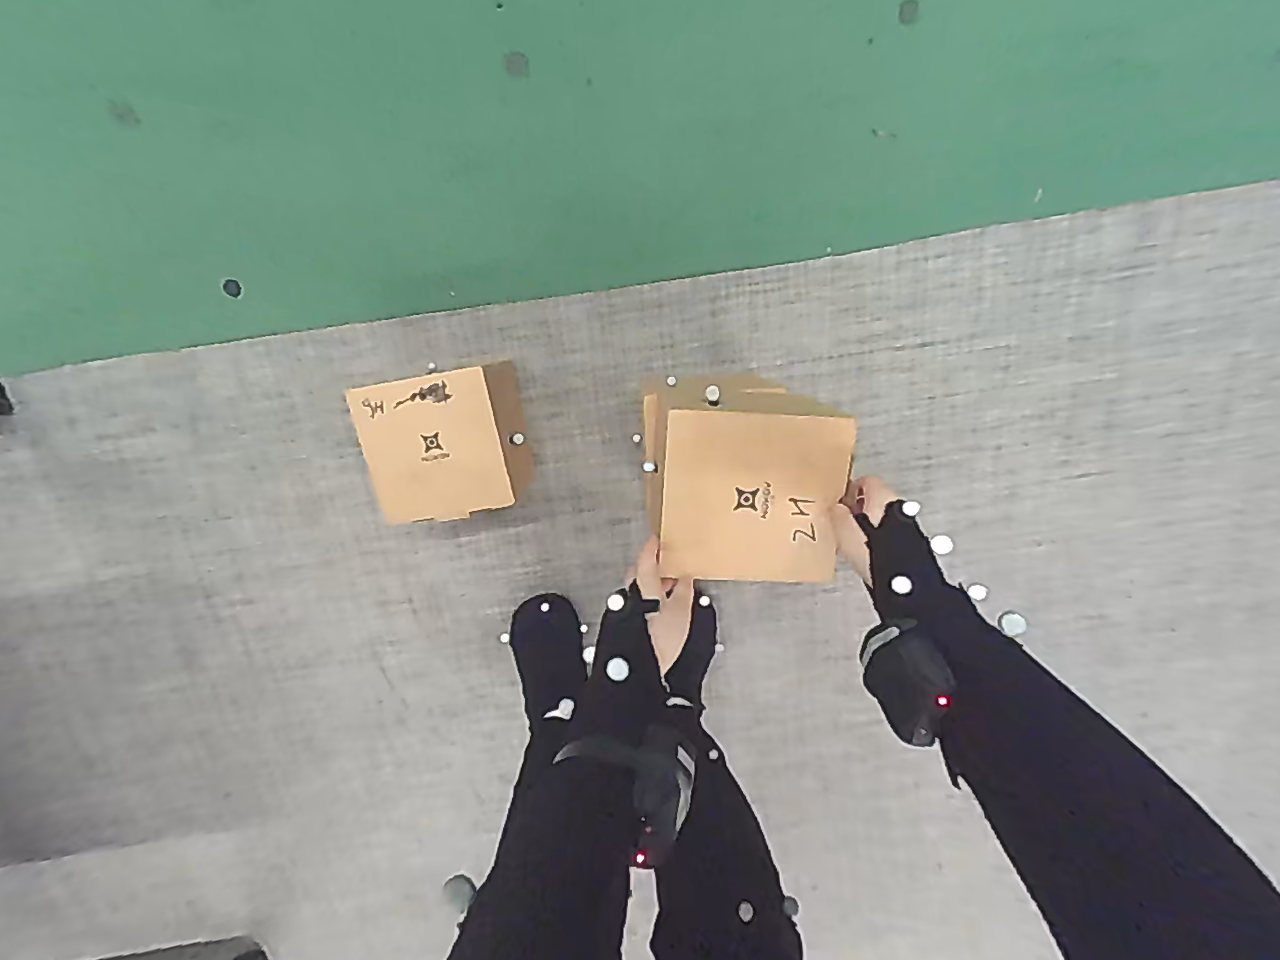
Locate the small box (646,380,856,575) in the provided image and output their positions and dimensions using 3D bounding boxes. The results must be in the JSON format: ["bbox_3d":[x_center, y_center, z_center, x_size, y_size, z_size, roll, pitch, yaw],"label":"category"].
[{"bbox_3d":[0.099,-0.013,0.573,0.179,0.176,0.168,2,107,-3],"label":"small box"}]

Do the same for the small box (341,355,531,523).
[{"bbox_3d":[-0.252,-0.062,0.718,0.168,0.176,0.179,-10,105,1],"label":"small box"}]
